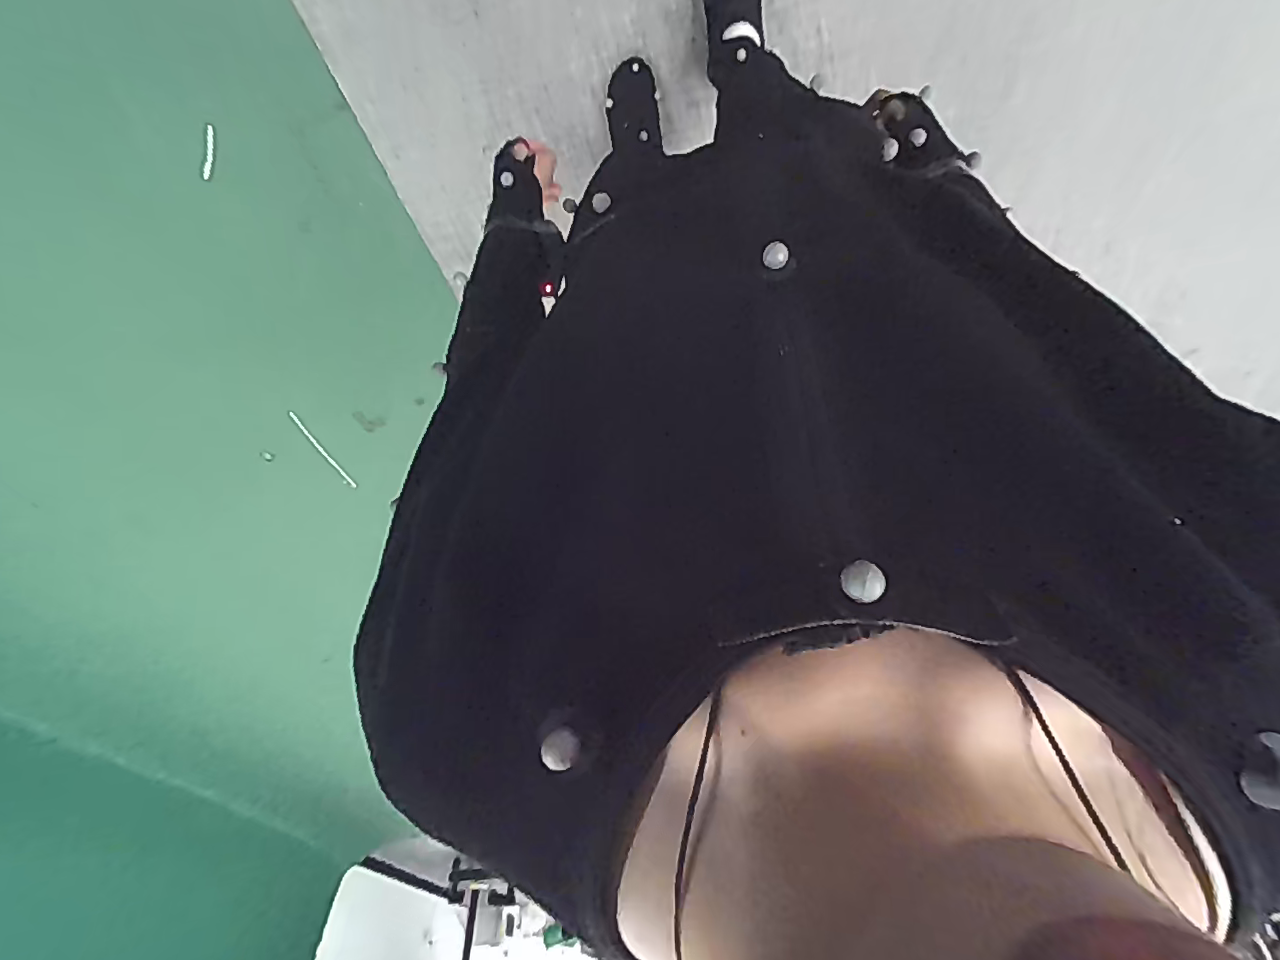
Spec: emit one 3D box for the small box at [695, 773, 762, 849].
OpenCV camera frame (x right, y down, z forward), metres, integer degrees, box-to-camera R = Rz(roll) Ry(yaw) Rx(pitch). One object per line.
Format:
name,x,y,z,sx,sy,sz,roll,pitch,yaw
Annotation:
small box,0.275,1.046,1.693,0.179,0.176,0.168,-17,130,12
